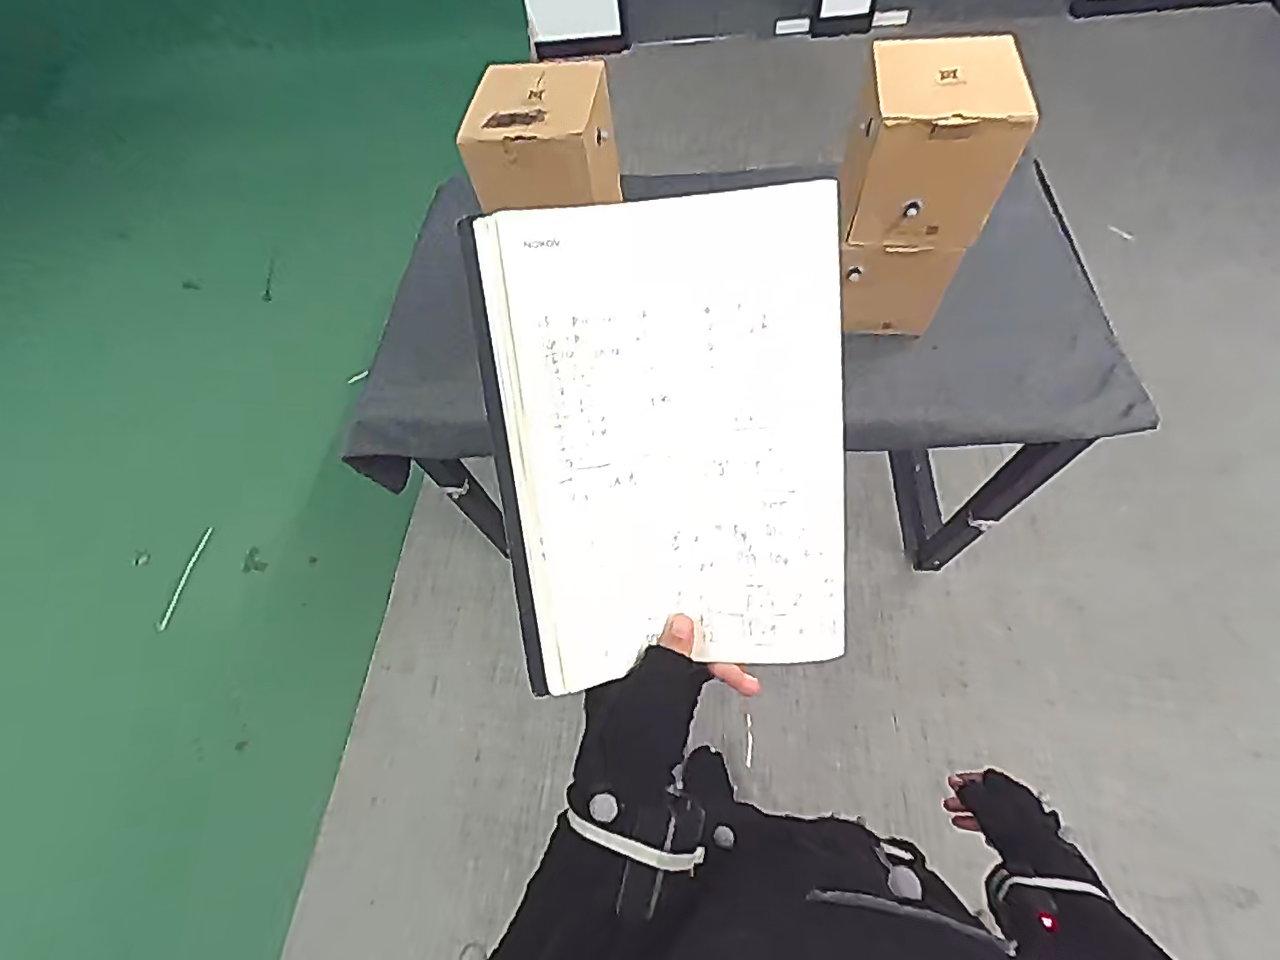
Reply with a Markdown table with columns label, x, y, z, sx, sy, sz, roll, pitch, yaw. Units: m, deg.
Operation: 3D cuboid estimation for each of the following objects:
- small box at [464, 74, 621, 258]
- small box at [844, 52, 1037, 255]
| label | x | y | z | sx | sy | sz | roll | pitch | yaw |
| --- | --- | --- | --- | --- | --- | --- | --- | --- | --- |
| small box | -0.125 | -0.440 | 0.776 | 0.168 | 0.176 | 0.179 | 3 | 61 | 8 |
| small box | 0.375 | -0.426 | 0.714 | 0.168 | 0.176 | 0.179 | 4 | 62 | 9 |
